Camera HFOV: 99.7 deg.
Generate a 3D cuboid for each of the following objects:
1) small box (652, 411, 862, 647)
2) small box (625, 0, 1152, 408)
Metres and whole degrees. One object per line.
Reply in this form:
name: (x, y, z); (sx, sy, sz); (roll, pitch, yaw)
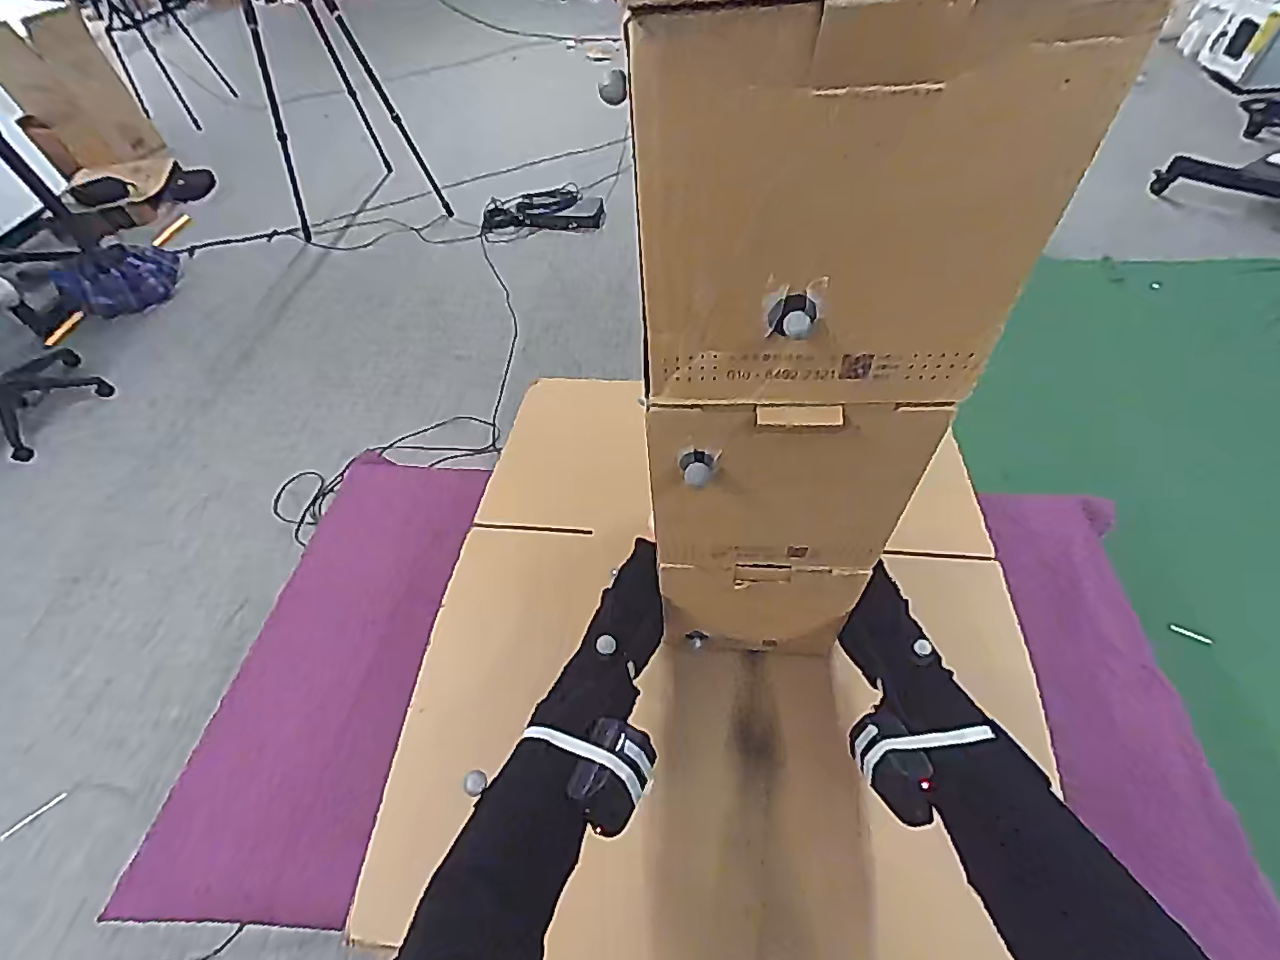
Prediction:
small box: (0.104, 0.052, 0.535); (0.168, 0.176, 0.179); (1, 51, 6)
small box: (0.084, -0.158, 0.284); (0.168, 0.176, 0.179); (0, 51, 4)
